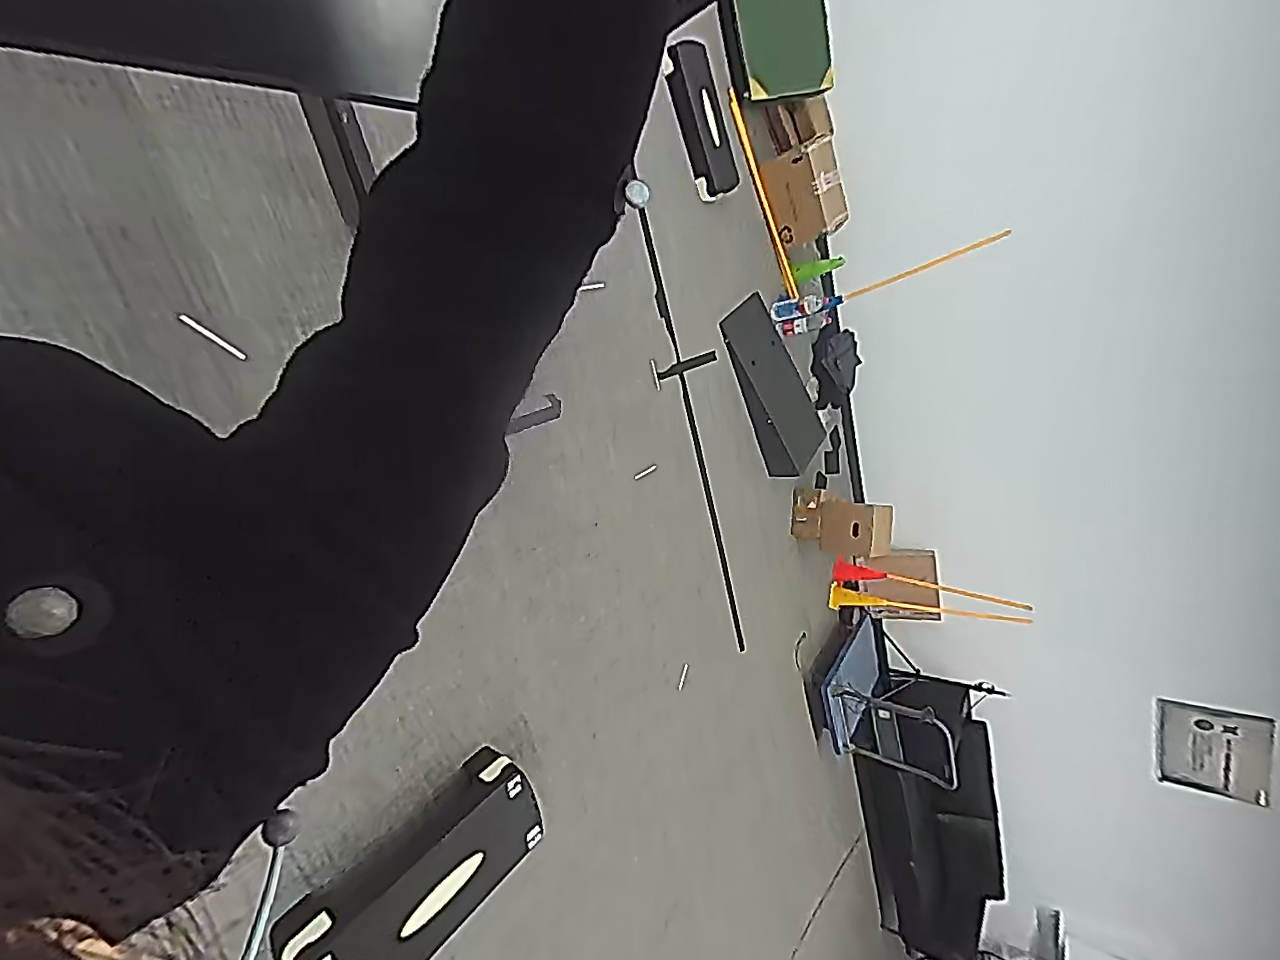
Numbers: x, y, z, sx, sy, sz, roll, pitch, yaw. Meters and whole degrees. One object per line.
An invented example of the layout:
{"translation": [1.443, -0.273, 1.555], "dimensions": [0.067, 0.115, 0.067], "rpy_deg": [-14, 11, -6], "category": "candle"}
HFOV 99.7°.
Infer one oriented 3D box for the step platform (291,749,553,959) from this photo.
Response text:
{"translation": [-0.558, 1.092, 1.522], "dimensions": [0.684, 0.204, 0.286], "rpy_deg": [-23, 106, -48], "category": "step platform"}
